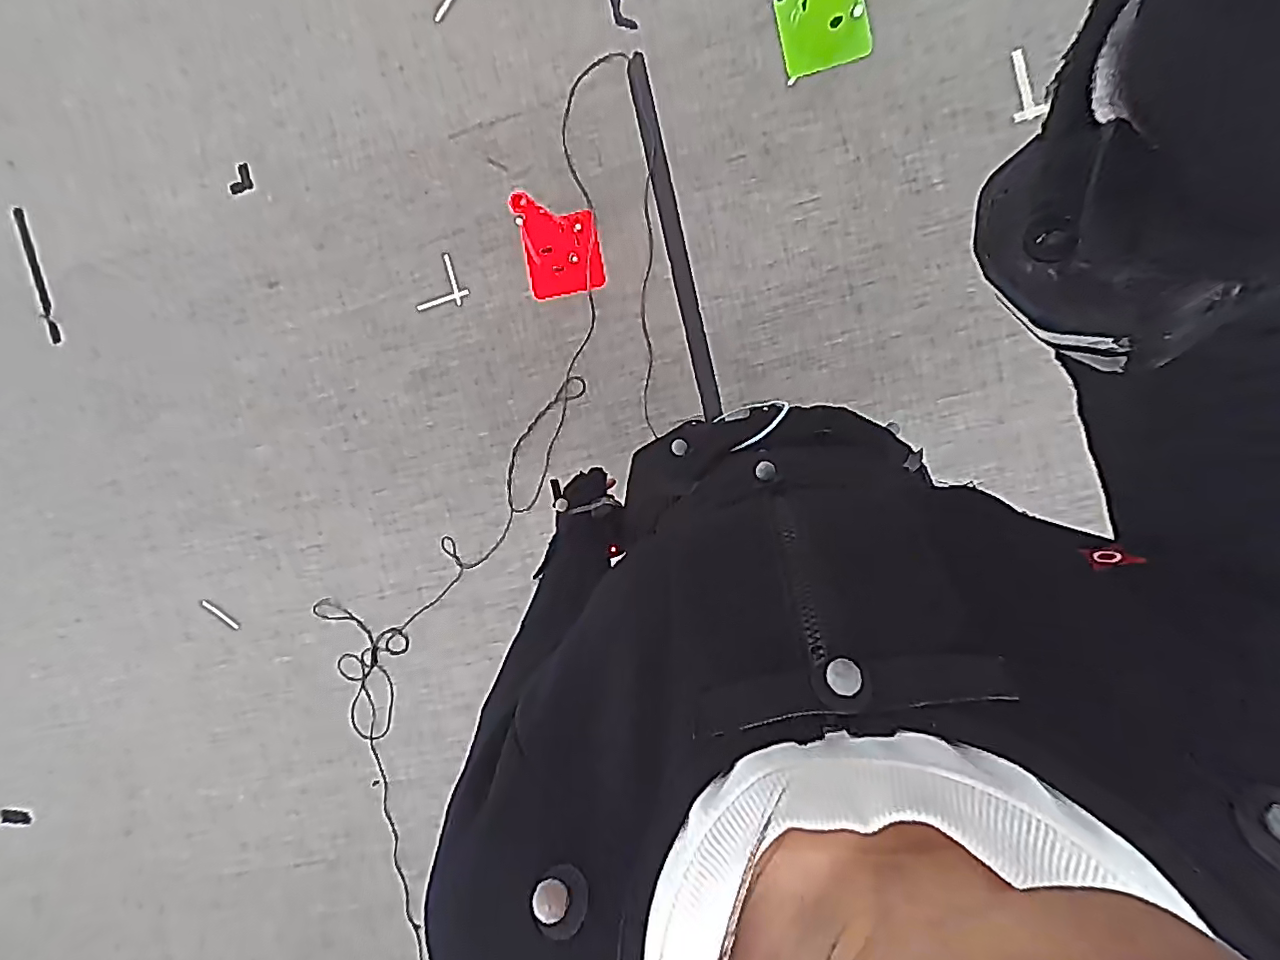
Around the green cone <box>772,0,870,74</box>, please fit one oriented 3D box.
[{"bbox_3d":[0.410,-1.062,1.104,0.202,0.368,0.200,-13,95,7],"label":"green cone"}]

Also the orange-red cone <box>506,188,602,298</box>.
[{"bbox_3d":[-0.225,-0.570,1.237,0.199,0.360,0.198,-8,94,9],"label":"orange-red cone"}]
